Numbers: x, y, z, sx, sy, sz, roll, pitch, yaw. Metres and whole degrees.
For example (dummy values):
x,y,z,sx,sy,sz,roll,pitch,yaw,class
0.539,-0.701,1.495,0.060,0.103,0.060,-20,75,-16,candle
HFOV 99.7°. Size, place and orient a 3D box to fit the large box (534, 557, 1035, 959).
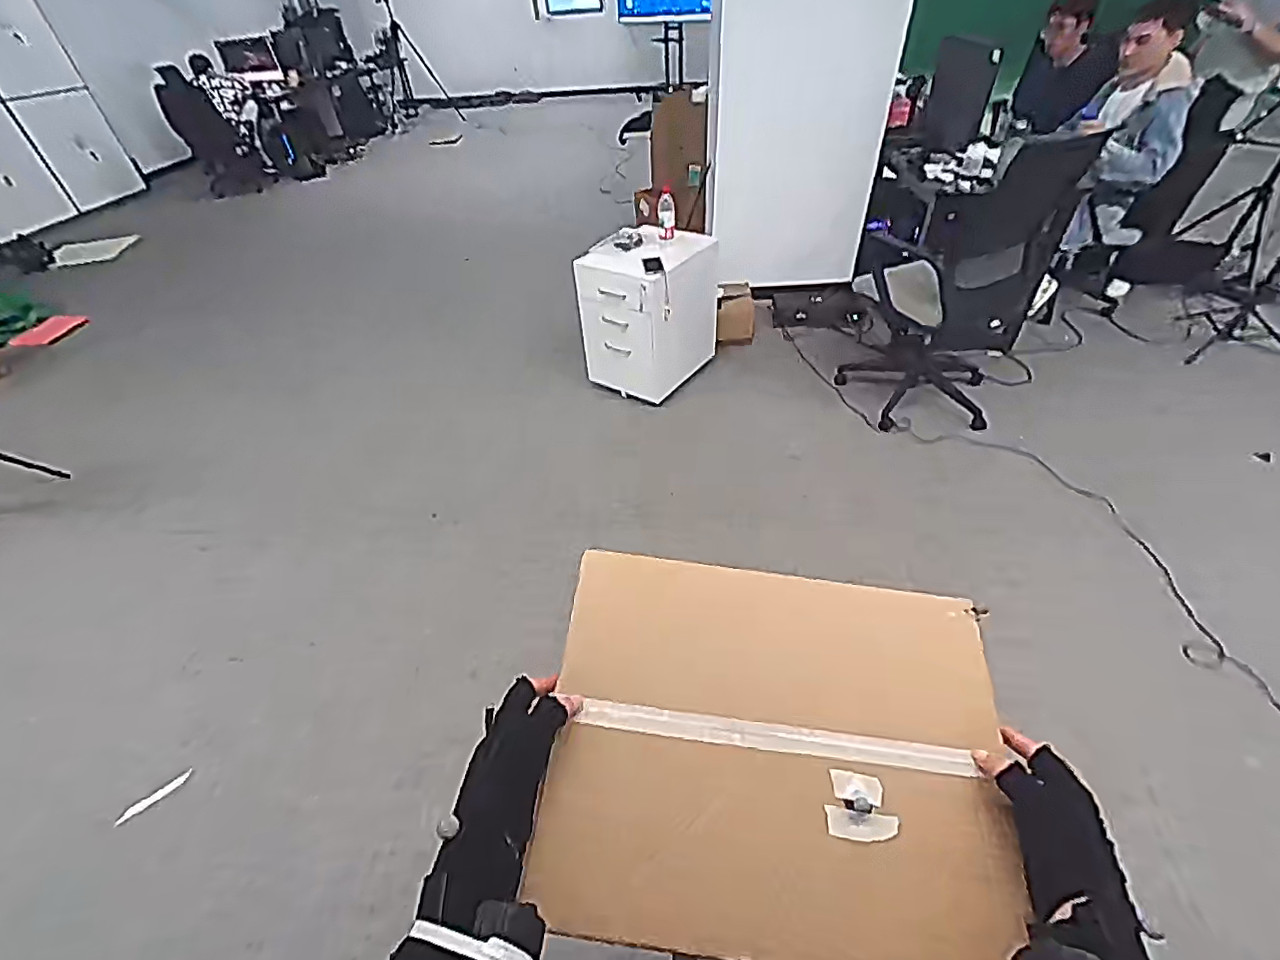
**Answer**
x,y,z,sx,sy,sz,roll,pitch,yaw,class
0.118,0.311,0.626,0.408,0.320,0.320,7,58,1,large box
